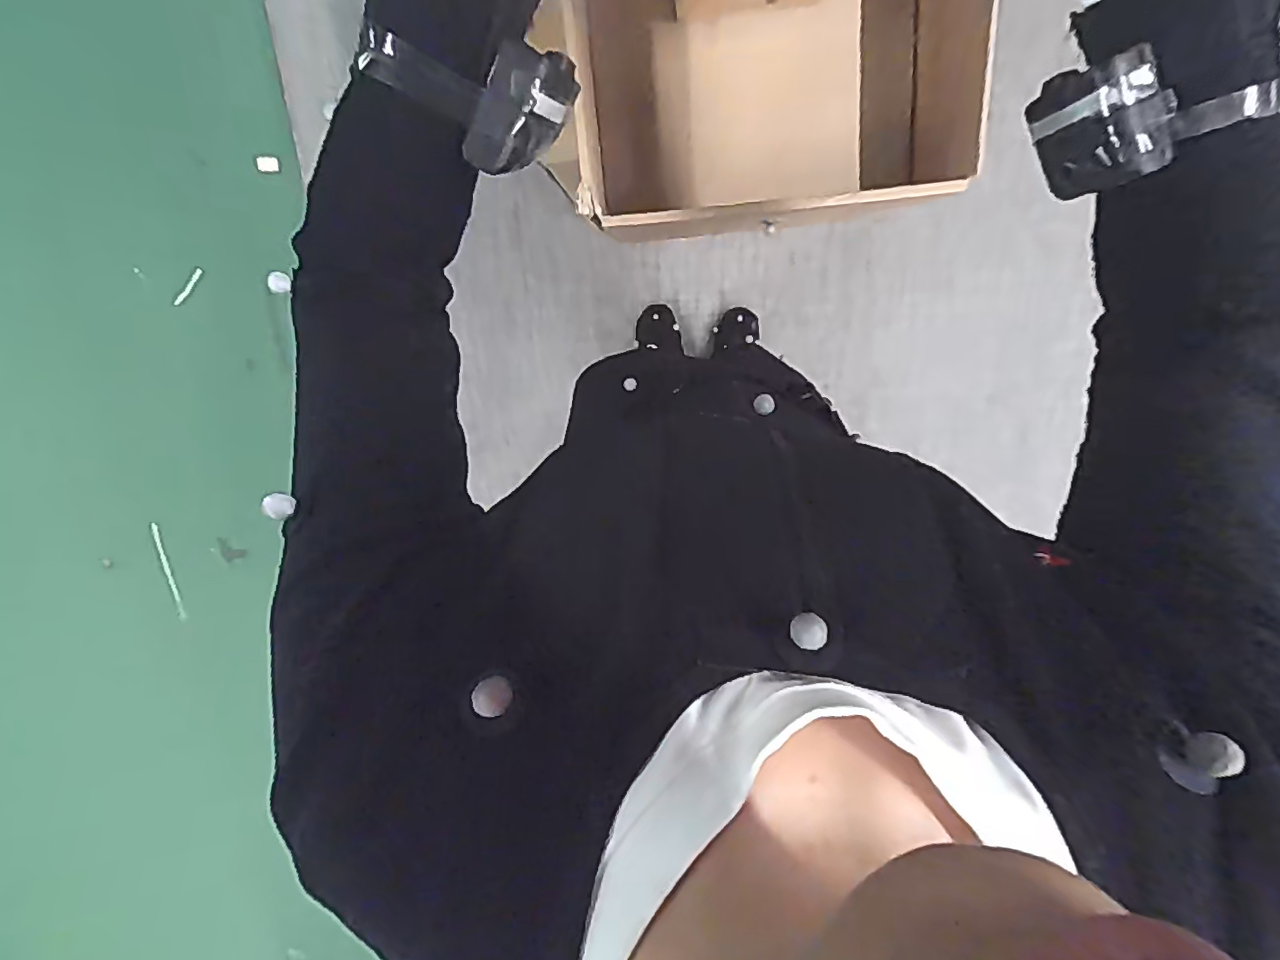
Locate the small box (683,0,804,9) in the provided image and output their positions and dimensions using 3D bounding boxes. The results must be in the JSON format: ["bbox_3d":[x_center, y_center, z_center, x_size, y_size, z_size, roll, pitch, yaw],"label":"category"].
[{"bbox_3d":[0.110,-0.581,0.503,0.168,0.176,0.179,-5,108,2],"label":"small box"}]
